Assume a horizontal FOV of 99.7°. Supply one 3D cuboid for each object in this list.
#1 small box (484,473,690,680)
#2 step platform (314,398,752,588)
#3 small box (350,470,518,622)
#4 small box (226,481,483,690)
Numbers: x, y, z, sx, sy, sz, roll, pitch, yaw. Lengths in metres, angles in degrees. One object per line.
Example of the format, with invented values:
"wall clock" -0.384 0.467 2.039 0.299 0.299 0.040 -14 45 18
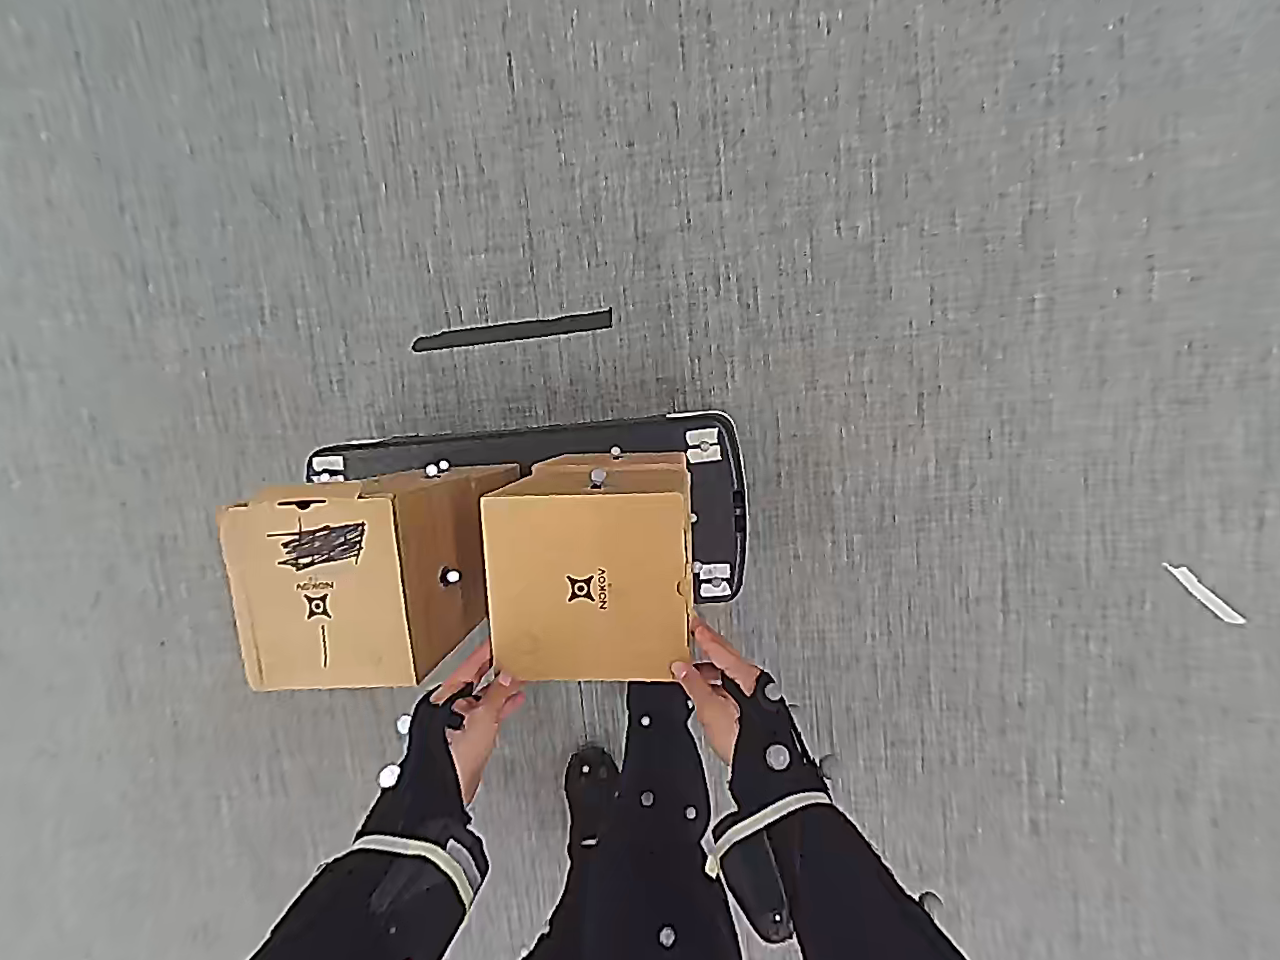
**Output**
"small box" -0.039 0.083 0.543 0.179 0.176 0.168 -2 97 4
"step platform" -0.164 0.036 0.887 0.684 0.204 0.286 -5 96 6
"small box" -0.260 0.079 0.725 0.168 0.176 0.179 -3 96 5
"small box" -0.276 0.095 0.563 0.168 0.176 0.179 -3 97 5
